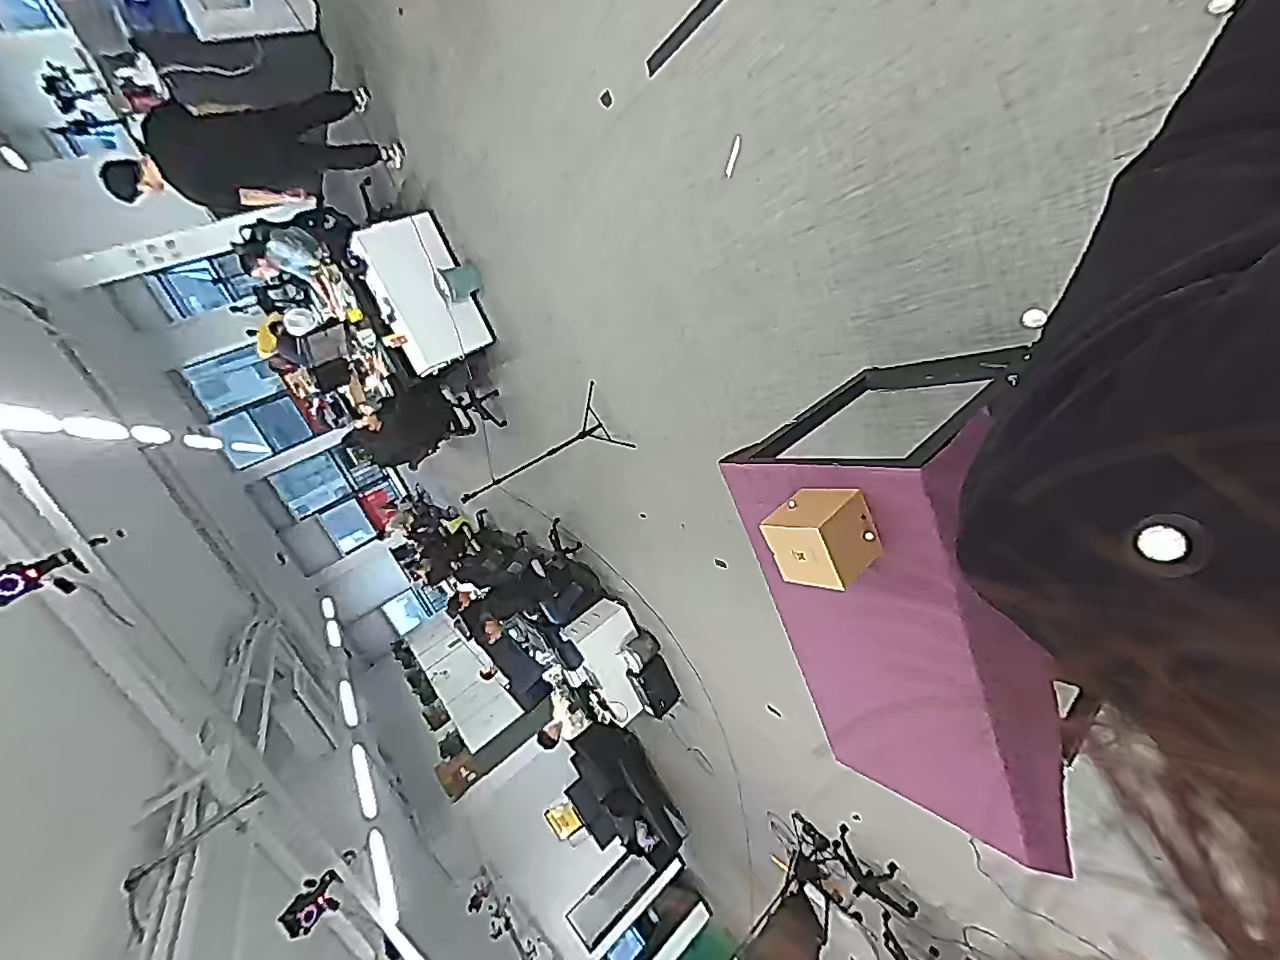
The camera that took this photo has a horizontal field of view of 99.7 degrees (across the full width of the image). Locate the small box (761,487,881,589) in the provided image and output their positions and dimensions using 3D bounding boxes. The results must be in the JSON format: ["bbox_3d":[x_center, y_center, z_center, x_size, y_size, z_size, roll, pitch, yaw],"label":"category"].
[{"bbox_3d":[0.424,0.127,1.264,0.179,0.176,0.168,-1,120,59],"label":"small box"}]
